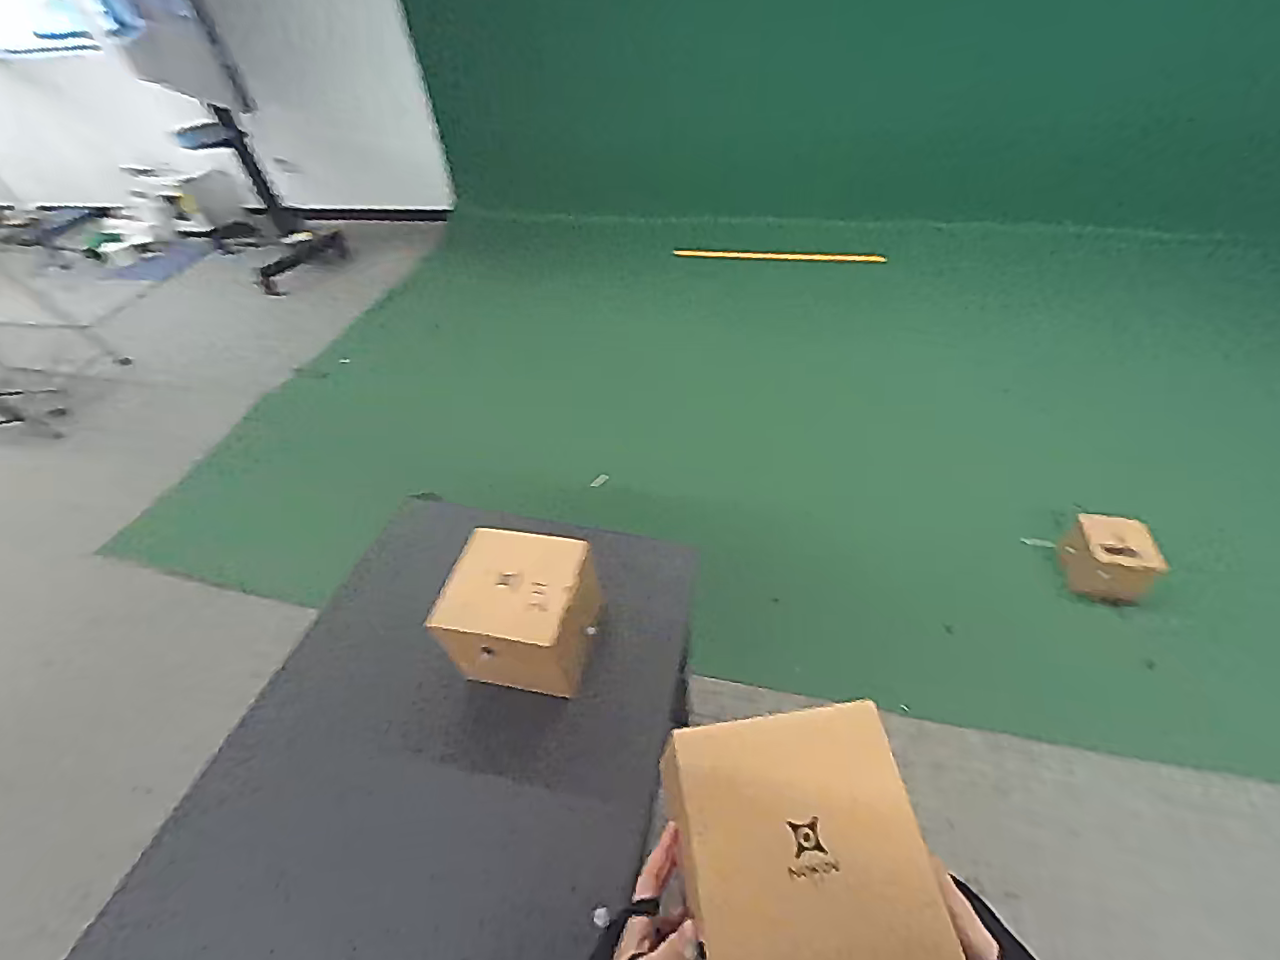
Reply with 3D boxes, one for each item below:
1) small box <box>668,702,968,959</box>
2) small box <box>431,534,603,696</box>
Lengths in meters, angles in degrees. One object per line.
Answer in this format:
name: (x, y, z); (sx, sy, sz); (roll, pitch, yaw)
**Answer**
small box: (0.120, 0.303, 0.451); (0.168, 0.176, 0.179); (-7, 58, -5)
small box: (-0.168, 0.201, 0.802); (0.179, 0.176, 0.168); (5, 49, 12)
